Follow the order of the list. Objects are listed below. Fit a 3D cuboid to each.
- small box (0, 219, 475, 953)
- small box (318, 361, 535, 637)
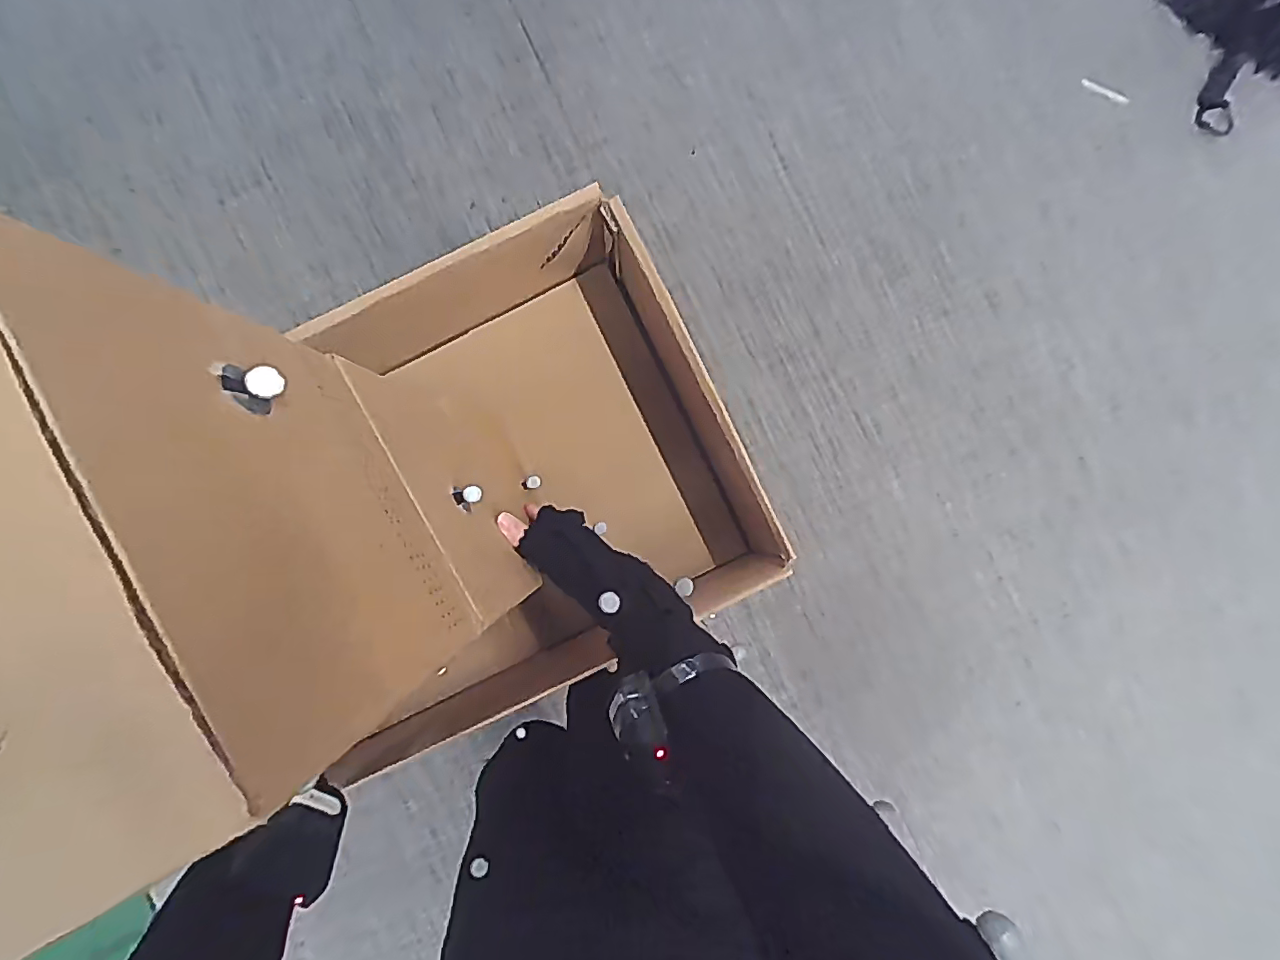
[{"bbox_3d":[-0.199,0.044,0.219,0.168,0.176,0.179,-31,89,1],"label":"small box"},{"bbox_3d":[-0.196,0.048,0.381,0.168,0.176,0.179,-30,89,0],"label":"small box"}]
